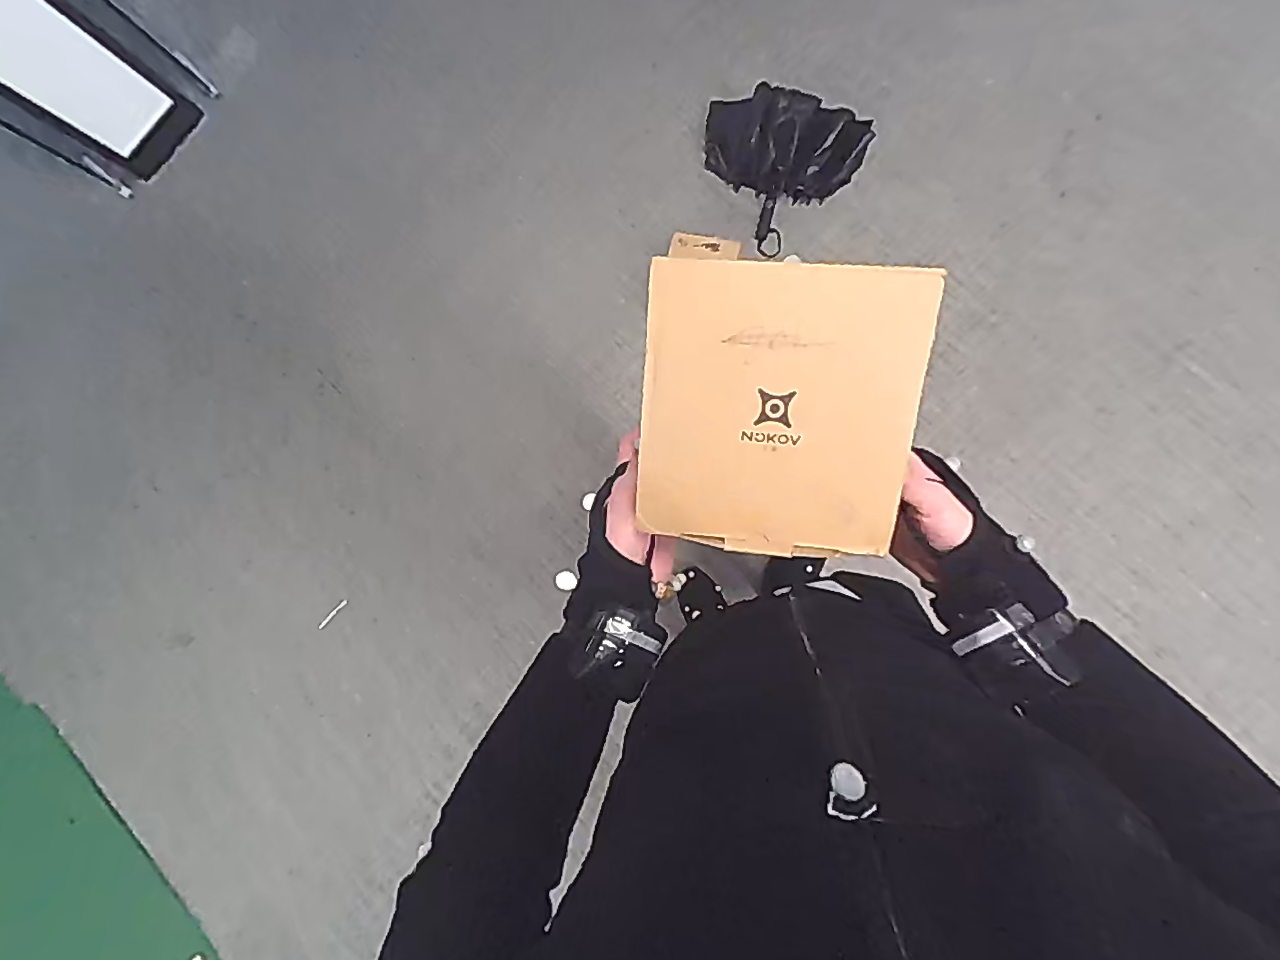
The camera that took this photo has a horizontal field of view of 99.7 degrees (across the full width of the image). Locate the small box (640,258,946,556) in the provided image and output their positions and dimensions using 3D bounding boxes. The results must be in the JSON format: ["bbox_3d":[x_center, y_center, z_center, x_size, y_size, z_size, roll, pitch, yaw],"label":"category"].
[{"bbox_3d":[0.097,-0.062,0.409,0.168,0.176,0.179,5,106,7],"label":"small box"}]
